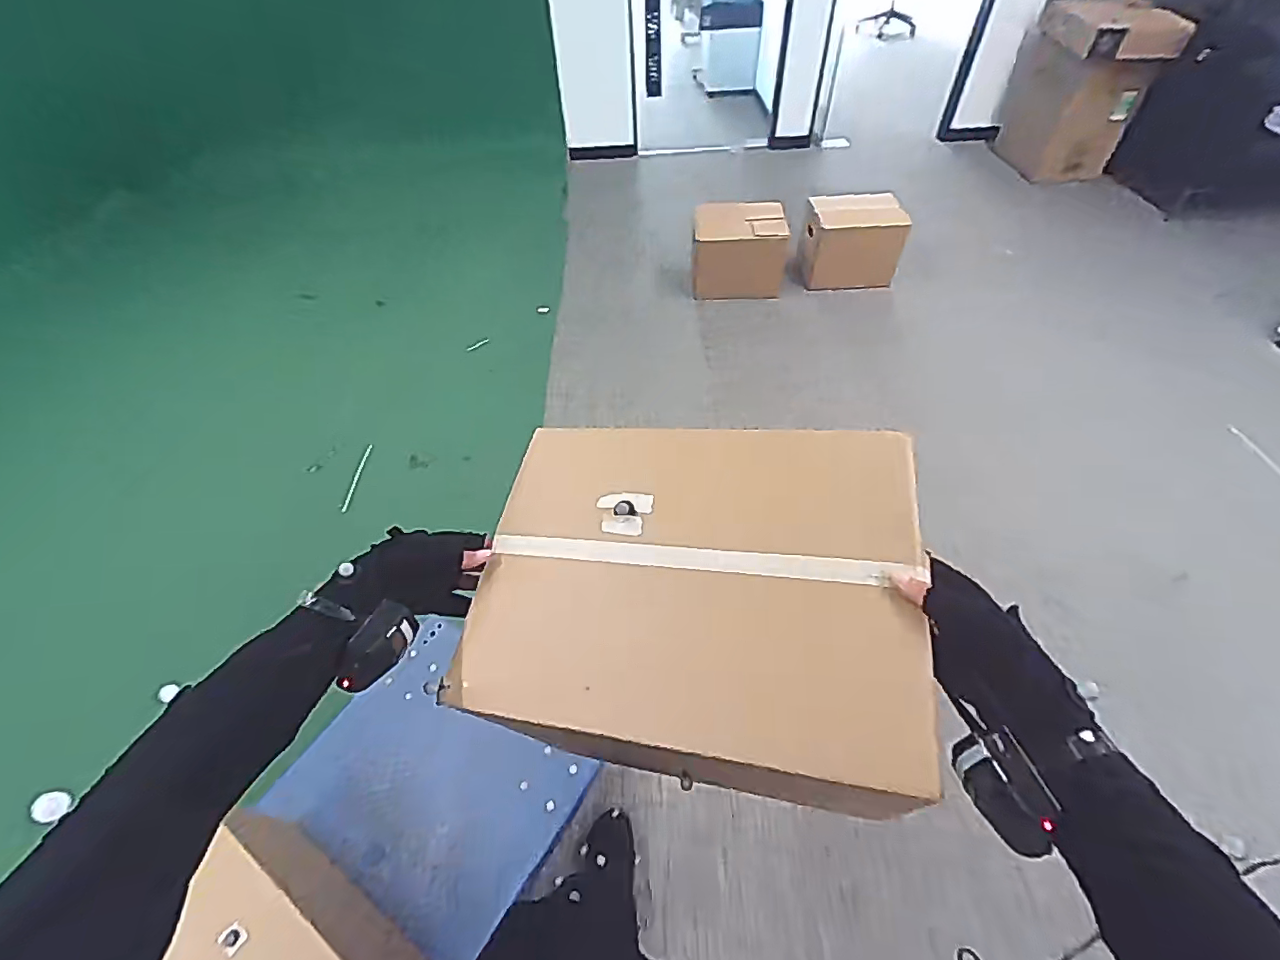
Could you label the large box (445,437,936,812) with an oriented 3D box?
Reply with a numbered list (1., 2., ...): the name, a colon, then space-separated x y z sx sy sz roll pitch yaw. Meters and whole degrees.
1. large box: 0.076 0.163 0.622 0.408 0.320 0.320 2 56 17
